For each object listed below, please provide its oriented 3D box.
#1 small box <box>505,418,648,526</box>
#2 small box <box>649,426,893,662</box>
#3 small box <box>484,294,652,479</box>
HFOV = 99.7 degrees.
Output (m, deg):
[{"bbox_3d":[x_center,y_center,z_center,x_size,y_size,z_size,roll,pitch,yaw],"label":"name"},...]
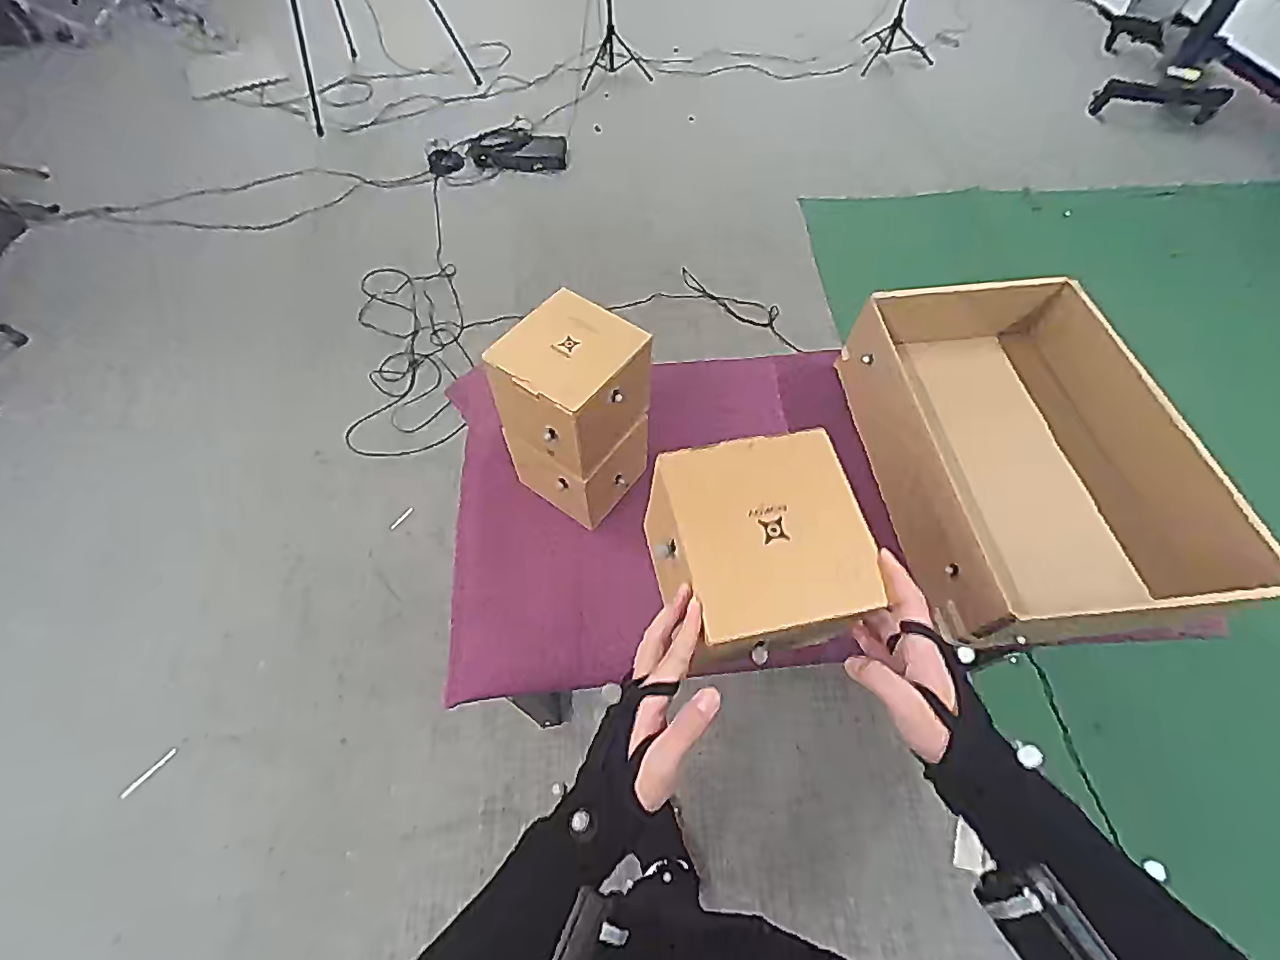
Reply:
[{"bbox_3d":[-0.102,-0.044,0.941,0.179,0.176,0.168,33,63,18],"label":"small box"},{"bbox_3d":[0.108,0.073,0.537,0.168,0.176,0.179,-10,63,-9],"label":"small box"},{"bbox_3d":[-0.096,-0.133,0.805,0.168,0.176,0.179,33,64,17],"label":"small box"}]
